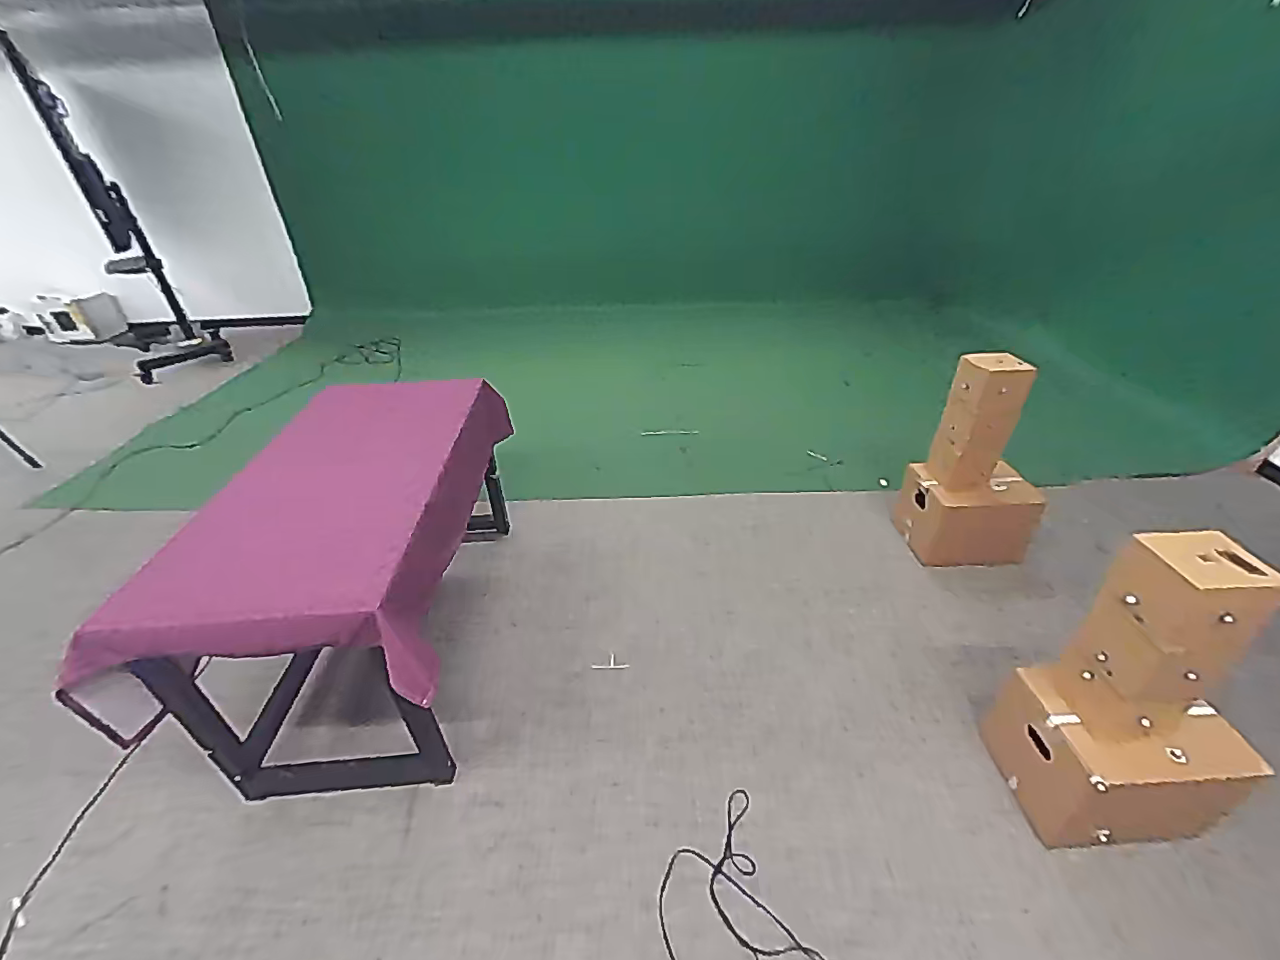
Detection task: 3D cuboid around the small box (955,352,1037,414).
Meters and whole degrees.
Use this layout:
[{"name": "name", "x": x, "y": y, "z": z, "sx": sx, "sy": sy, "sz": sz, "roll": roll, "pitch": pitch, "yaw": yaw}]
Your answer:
[{"name": "small box", "x": 1.263, "y": -0.346, "z": 1.940, "sx": 0.179, "sy": 0.176, "sz": 0.168, "roll": -4, "pitch": 34, "yaw": -3}]

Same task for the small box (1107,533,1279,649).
[{"name": "small box", "x": 1.115, "y": 0.225, "z": 1.095, "sx": 0.179, "sy": 0.176, "sz": 0.168, "roll": -3, "pitch": 33, "yaw": 2}]

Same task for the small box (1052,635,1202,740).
[{"name": "small box", "x": 1.138, "y": 0.496, "z": 1.281, "sx": 0.168, "sy": 0.176, "sz": 0.179, "roll": -3, "pitch": 33, "yaw": -2}]

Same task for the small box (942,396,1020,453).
[{"name": "small box", "x": 1.268, "y": -0.210, "z": 2.033, "sx": 0.179, "sy": 0.176, "sz": 0.168, "roll": -4, "pitch": 34, "yaw": -5}]

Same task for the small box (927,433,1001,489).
[{"name": "small box", "x": 1.265, "y": -0.074, "z": 2.123, "sx": 0.168, "sy": 0.176, "sz": 0.179, "roll": -2, "pitch": 33, "yaw": -2}]

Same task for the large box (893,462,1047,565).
[{"name": "large box", "x": 1.341, "y": 0.136, "z": 2.245, "sx": 0.408, "sy": 0.320, "sz": 0.320, "roll": -1, "pitch": 34, "yaw": -1}]
